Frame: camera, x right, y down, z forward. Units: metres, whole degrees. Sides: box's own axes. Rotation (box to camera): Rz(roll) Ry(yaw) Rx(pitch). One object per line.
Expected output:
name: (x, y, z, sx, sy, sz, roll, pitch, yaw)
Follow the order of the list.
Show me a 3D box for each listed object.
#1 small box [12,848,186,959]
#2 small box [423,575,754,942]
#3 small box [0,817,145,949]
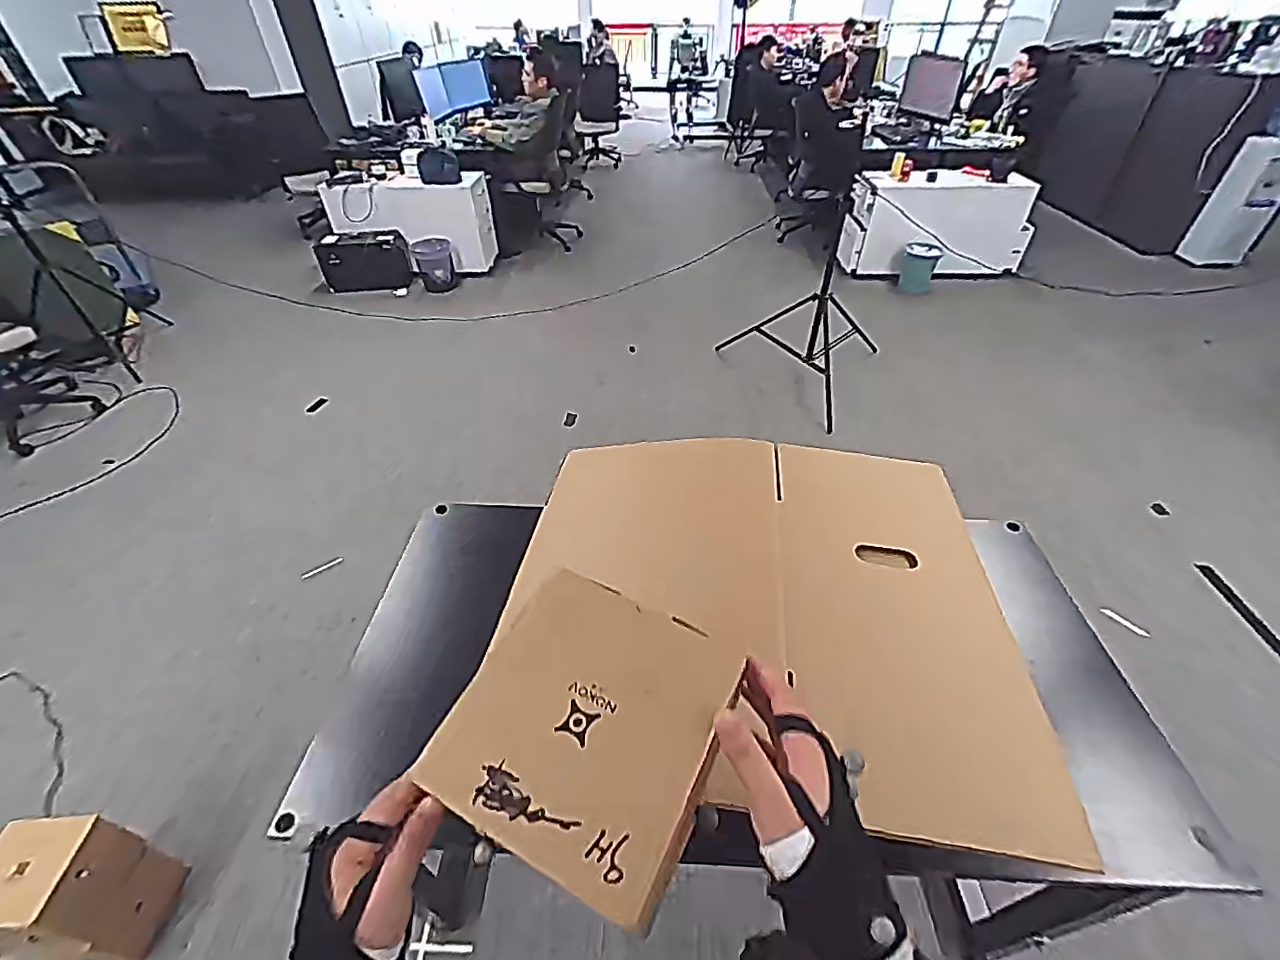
small box: (-1.130, 0.912, 1.154, 0.168, 0.176, 0.179, -1, 42, 0)
small box: (-0.027, 0.214, 0.424, 0.168, 0.176, 0.179, 21, 53, 22)
small box: (-1.133, 0.786, 1.051, 0.168, 0.176, 0.179, -3, 40, -3)
